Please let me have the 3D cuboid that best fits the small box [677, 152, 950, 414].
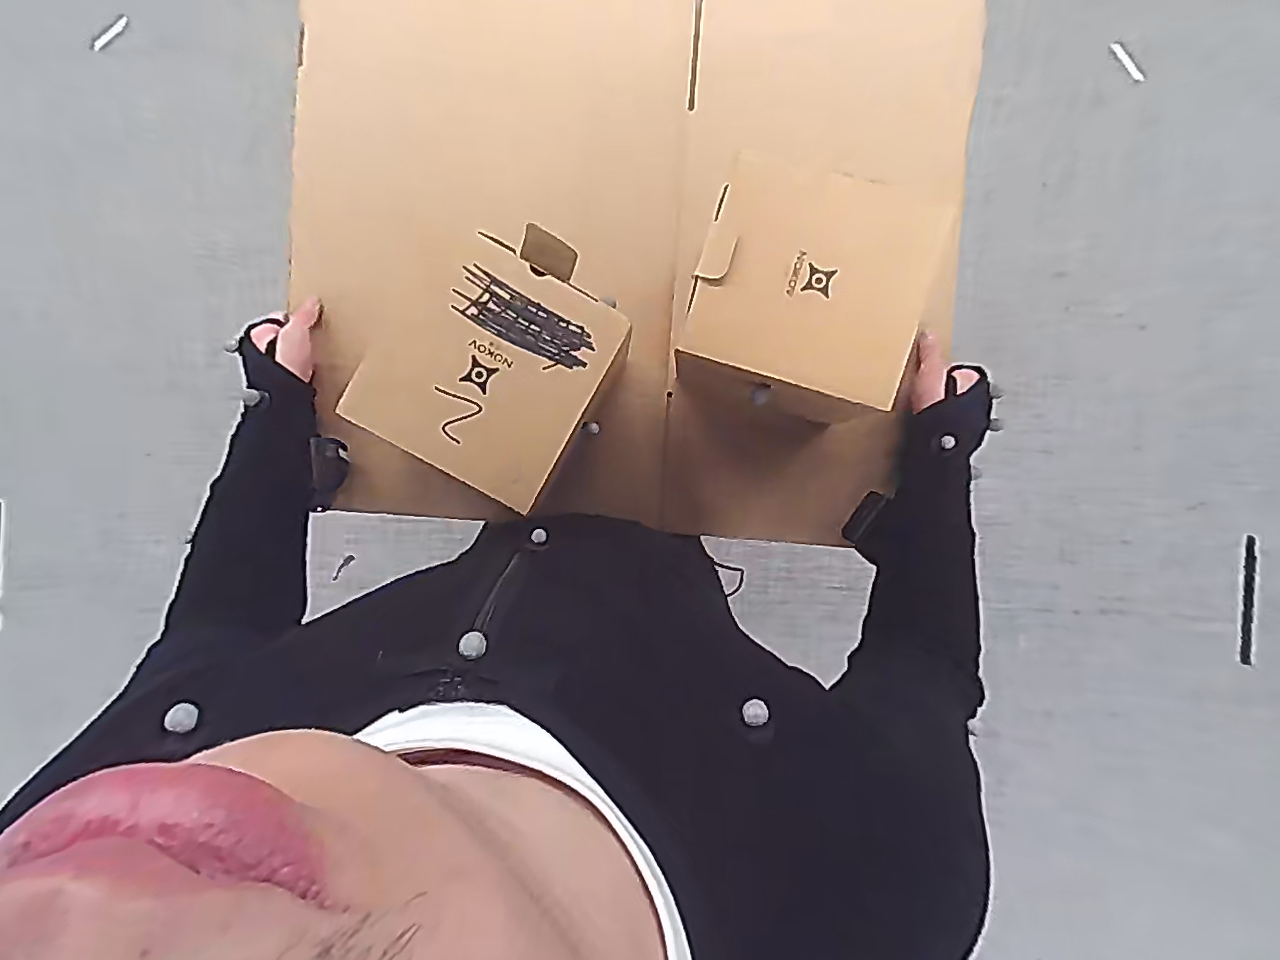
[{"bbox_3d":[0.143,-0.164,0.510,0.179,0.176,0.168,17,94,5],"label":"small box"}]
